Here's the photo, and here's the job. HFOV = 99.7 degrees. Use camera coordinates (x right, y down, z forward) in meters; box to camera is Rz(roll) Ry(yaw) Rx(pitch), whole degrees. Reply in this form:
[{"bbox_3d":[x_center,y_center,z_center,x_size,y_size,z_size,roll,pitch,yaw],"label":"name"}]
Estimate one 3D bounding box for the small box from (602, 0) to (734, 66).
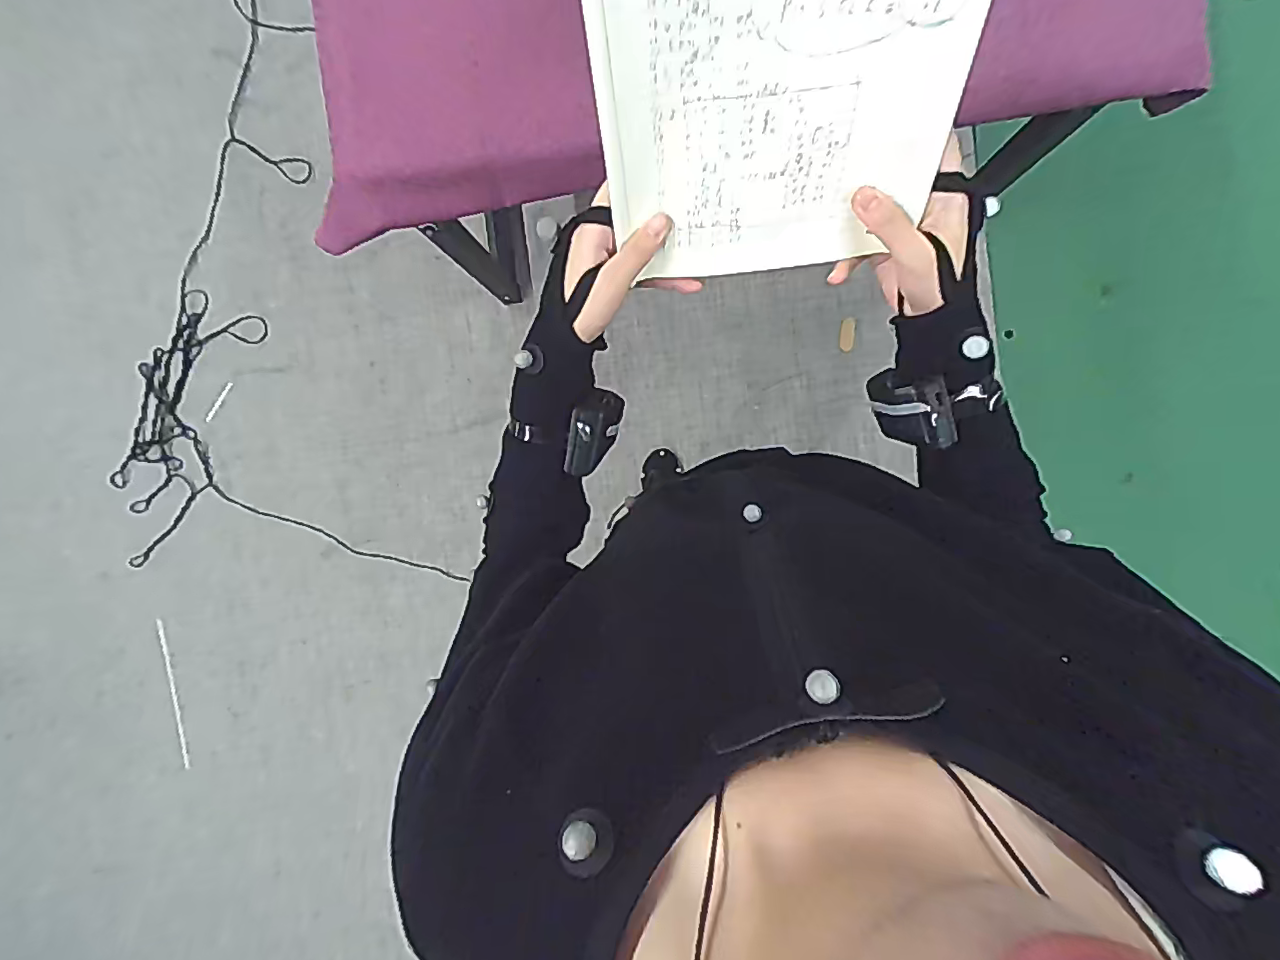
[{"bbox_3d":[0.031,-0.667,0.684,0.168,0.176,0.179,-6,92,4],"label":"small box"}]
